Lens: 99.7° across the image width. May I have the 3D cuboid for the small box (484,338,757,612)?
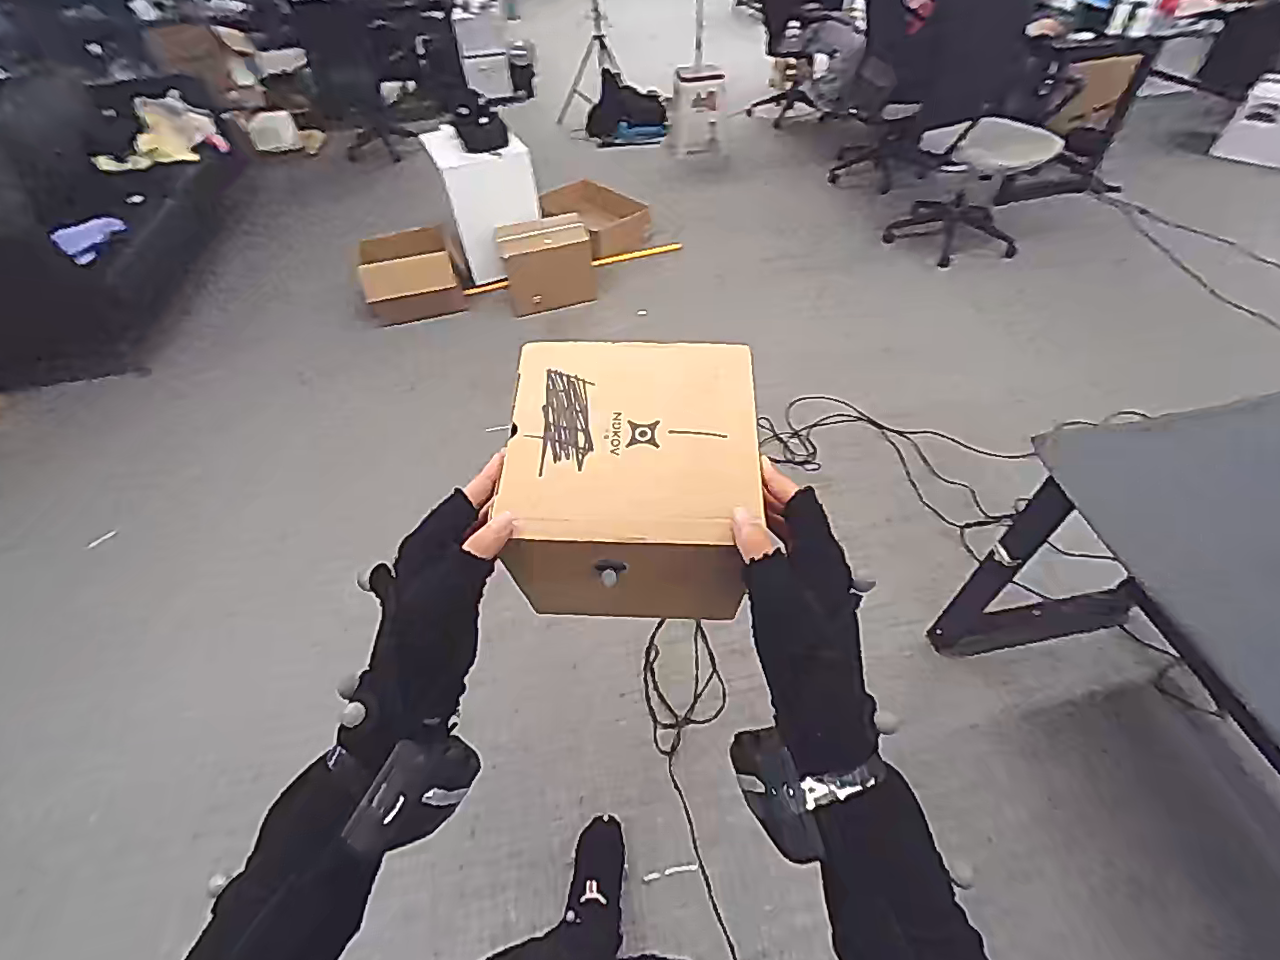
[{"bbox_3d":[-0.006,0.004,0.445,0.179,0.176,0.168,2,61,3],"label":"small box"}]
